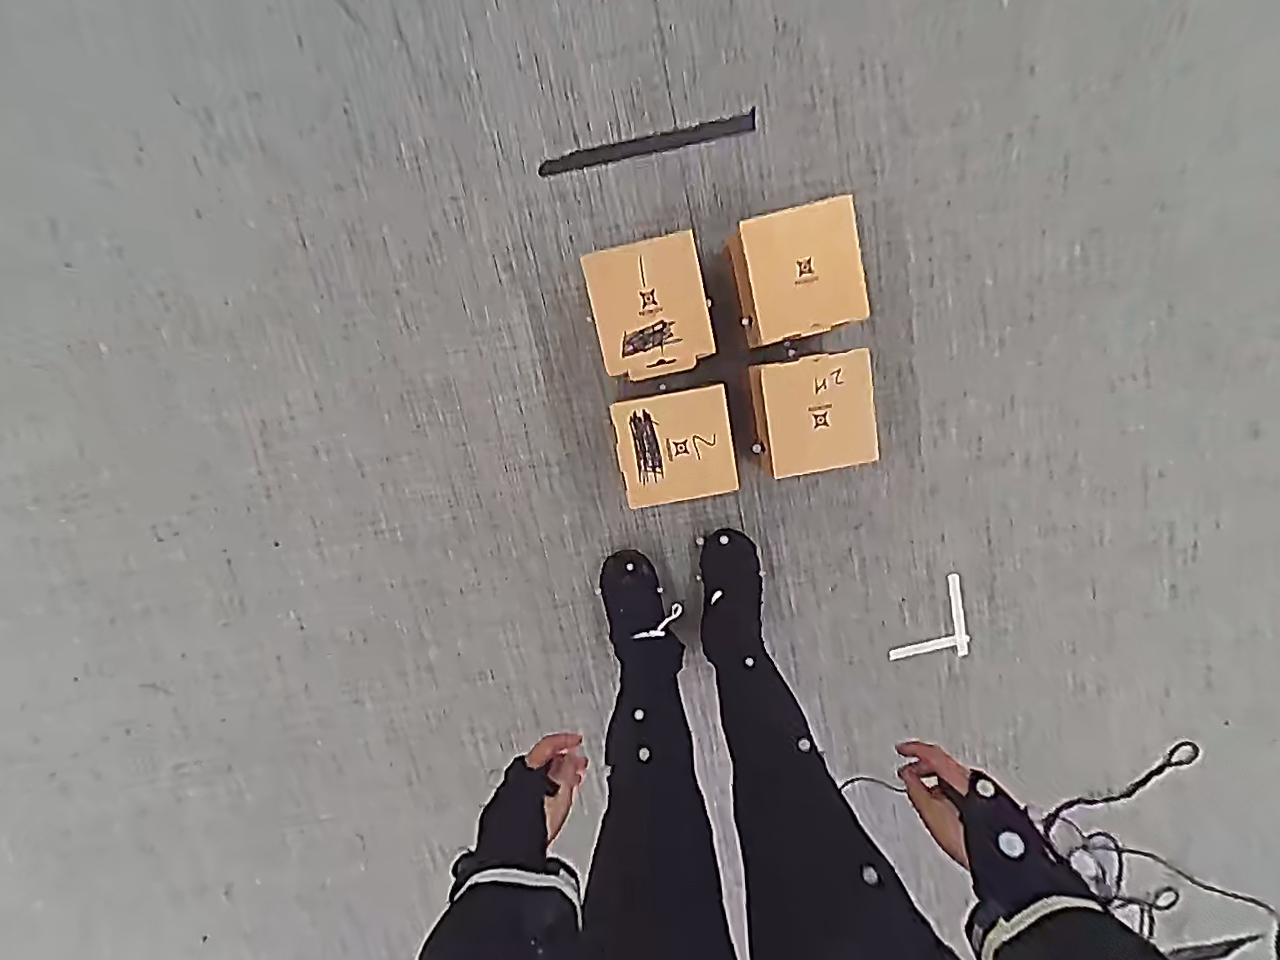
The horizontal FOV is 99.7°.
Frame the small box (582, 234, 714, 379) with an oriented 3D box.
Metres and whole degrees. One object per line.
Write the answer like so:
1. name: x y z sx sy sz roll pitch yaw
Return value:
1. small box: 0.012 -0.261 0.852 0.168 0.176 0.179 -12 99 0
